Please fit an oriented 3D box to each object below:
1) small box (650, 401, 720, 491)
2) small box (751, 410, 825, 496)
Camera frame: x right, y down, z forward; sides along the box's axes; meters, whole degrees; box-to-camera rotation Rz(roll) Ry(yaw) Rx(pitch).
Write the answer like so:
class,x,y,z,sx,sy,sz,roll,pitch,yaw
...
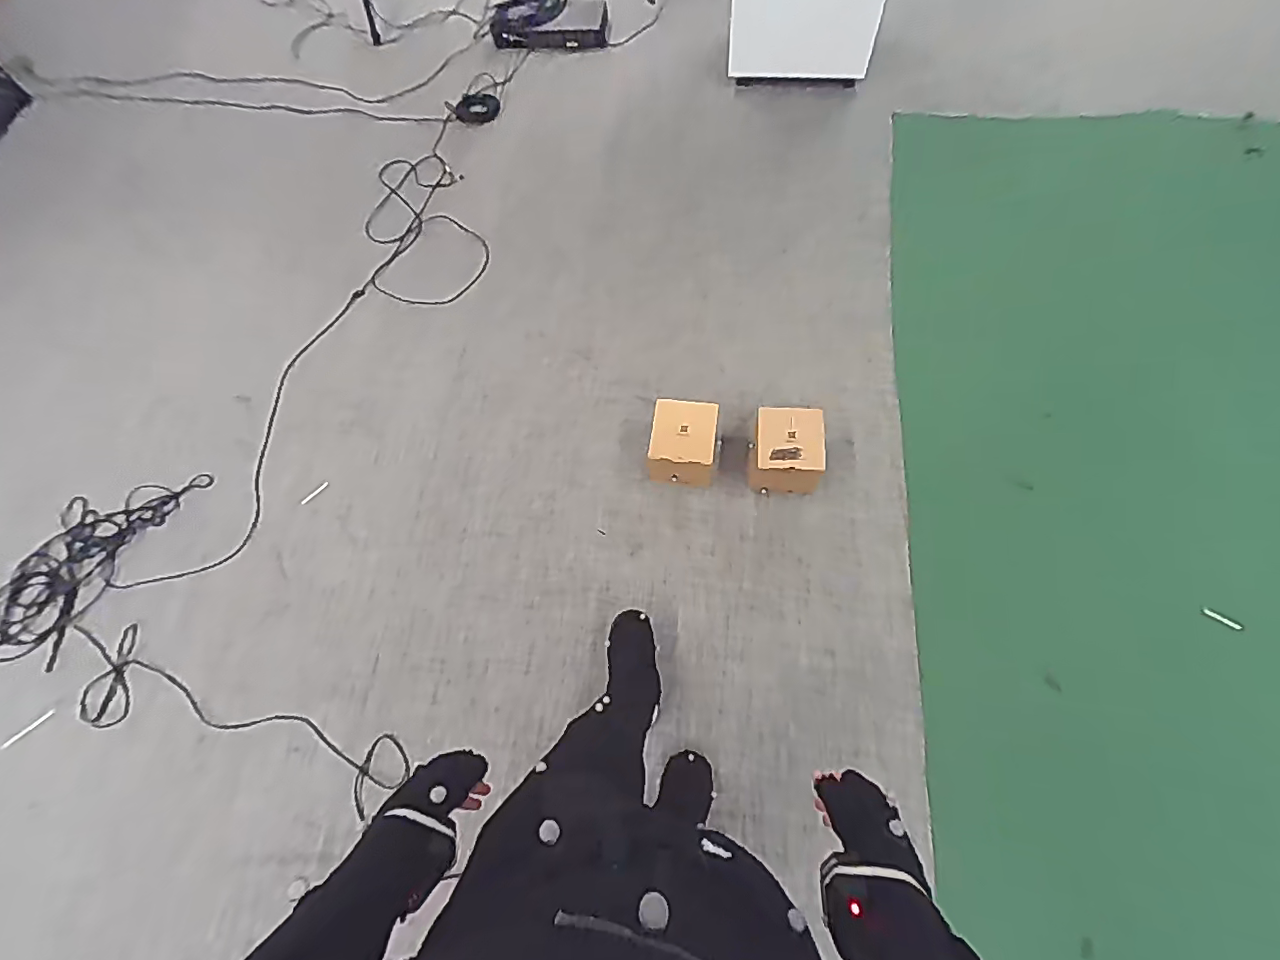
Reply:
class,x,y,z,sx,sy,sz,roll,pitch,yaw
small box,0.121,-0.089,1.460,0.168,0.176,0.179,6,69,7
small box,0.387,-0.066,1.428,0.168,0.176,0.179,3,67,6
